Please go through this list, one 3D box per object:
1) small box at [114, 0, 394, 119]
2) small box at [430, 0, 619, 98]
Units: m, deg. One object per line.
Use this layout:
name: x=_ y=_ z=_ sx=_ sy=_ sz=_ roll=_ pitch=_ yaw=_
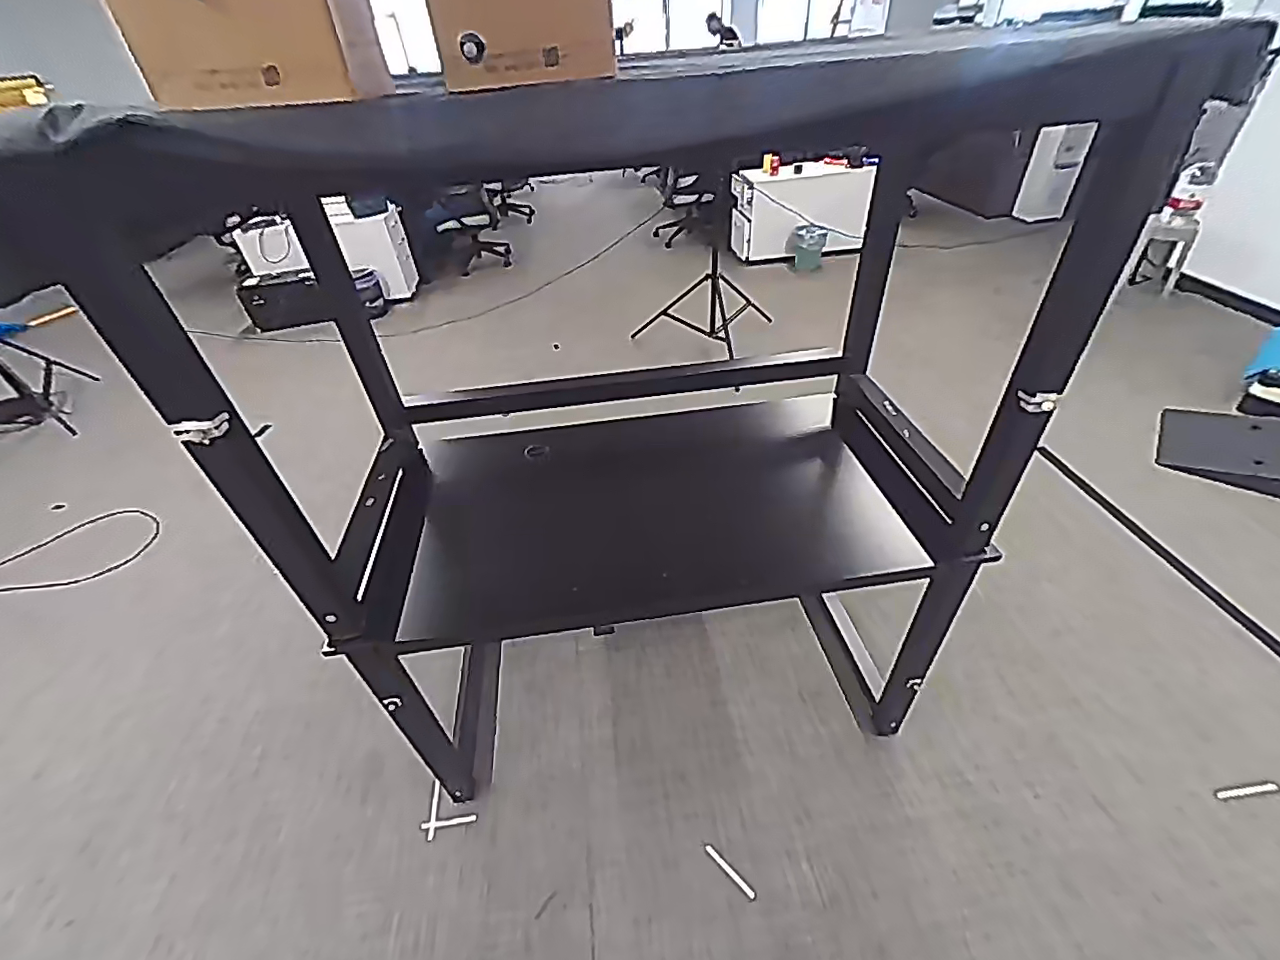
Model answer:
small box: x=-0.348 y=-0.438 z=0.497 sx=0.168 sy=0.176 sz=0.179 roll=-7 pitch=37 yaw=-4
small box: x=-0.112 y=-0.487 z=0.532 sx=0.168 sy=0.176 sz=0.179 roll=-6 pitch=37 yaw=-2
